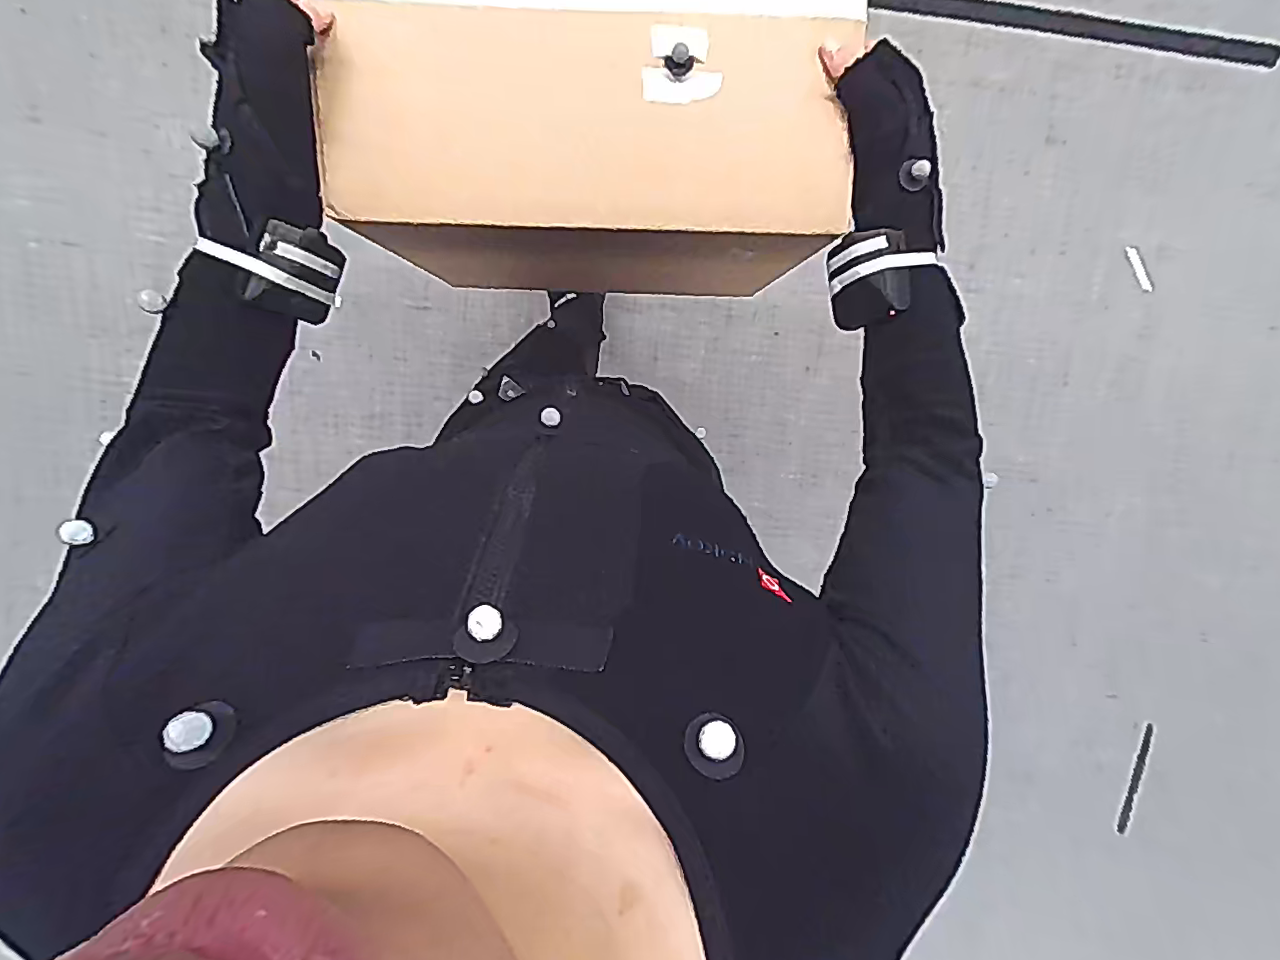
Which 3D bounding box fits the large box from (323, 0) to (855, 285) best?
[{"bbox_3d":[-0.041,-0.387,0.549,0.408,0.320,0.320,1,100,-2],"label":"large box"}]
